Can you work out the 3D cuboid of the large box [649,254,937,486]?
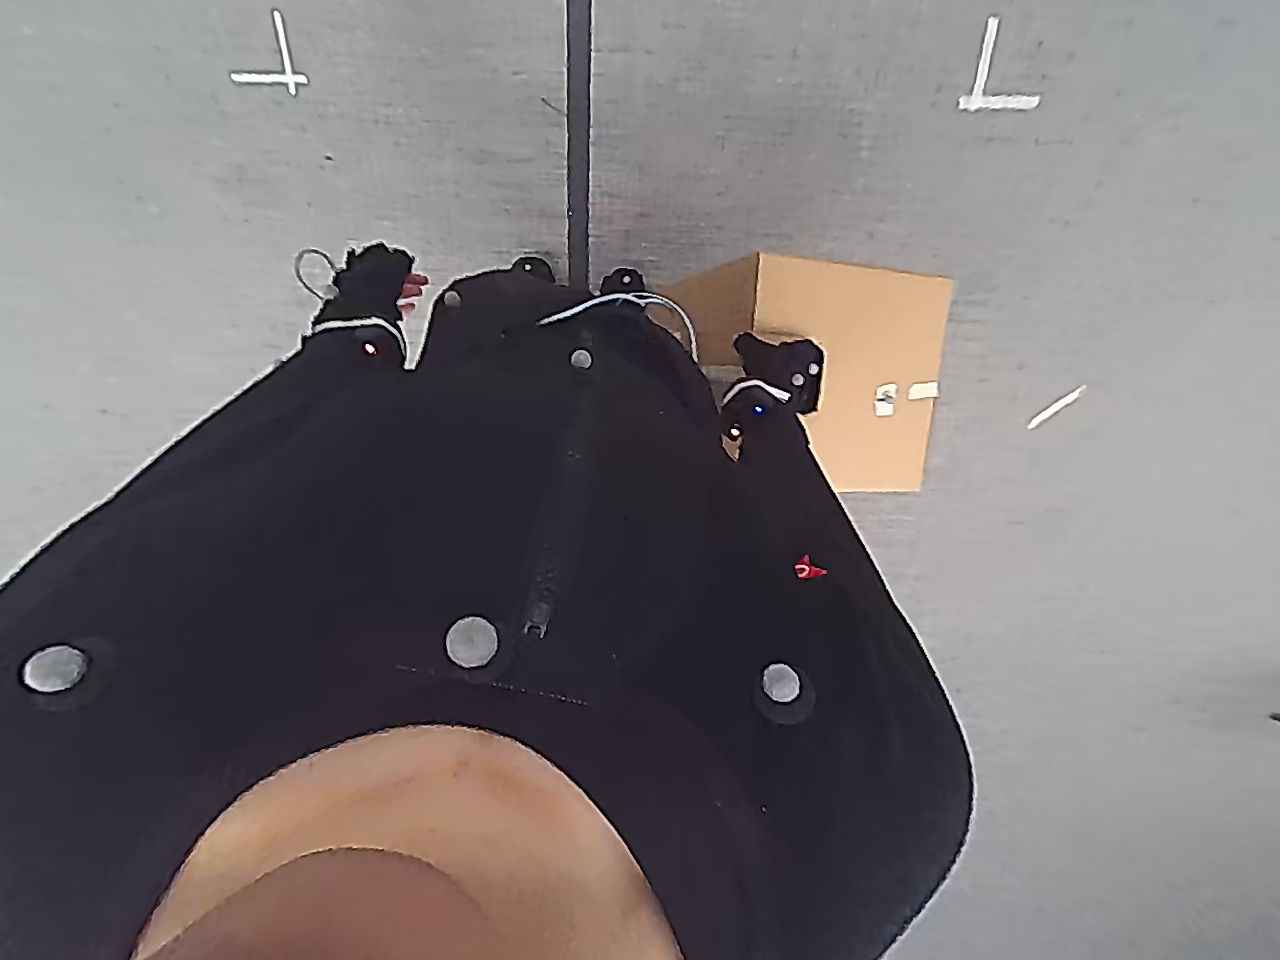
[{"bbox_3d":[0.227,-0.180,0.941,0.320,0.408,0.320,0,102,-17],"label":"large box"}]
